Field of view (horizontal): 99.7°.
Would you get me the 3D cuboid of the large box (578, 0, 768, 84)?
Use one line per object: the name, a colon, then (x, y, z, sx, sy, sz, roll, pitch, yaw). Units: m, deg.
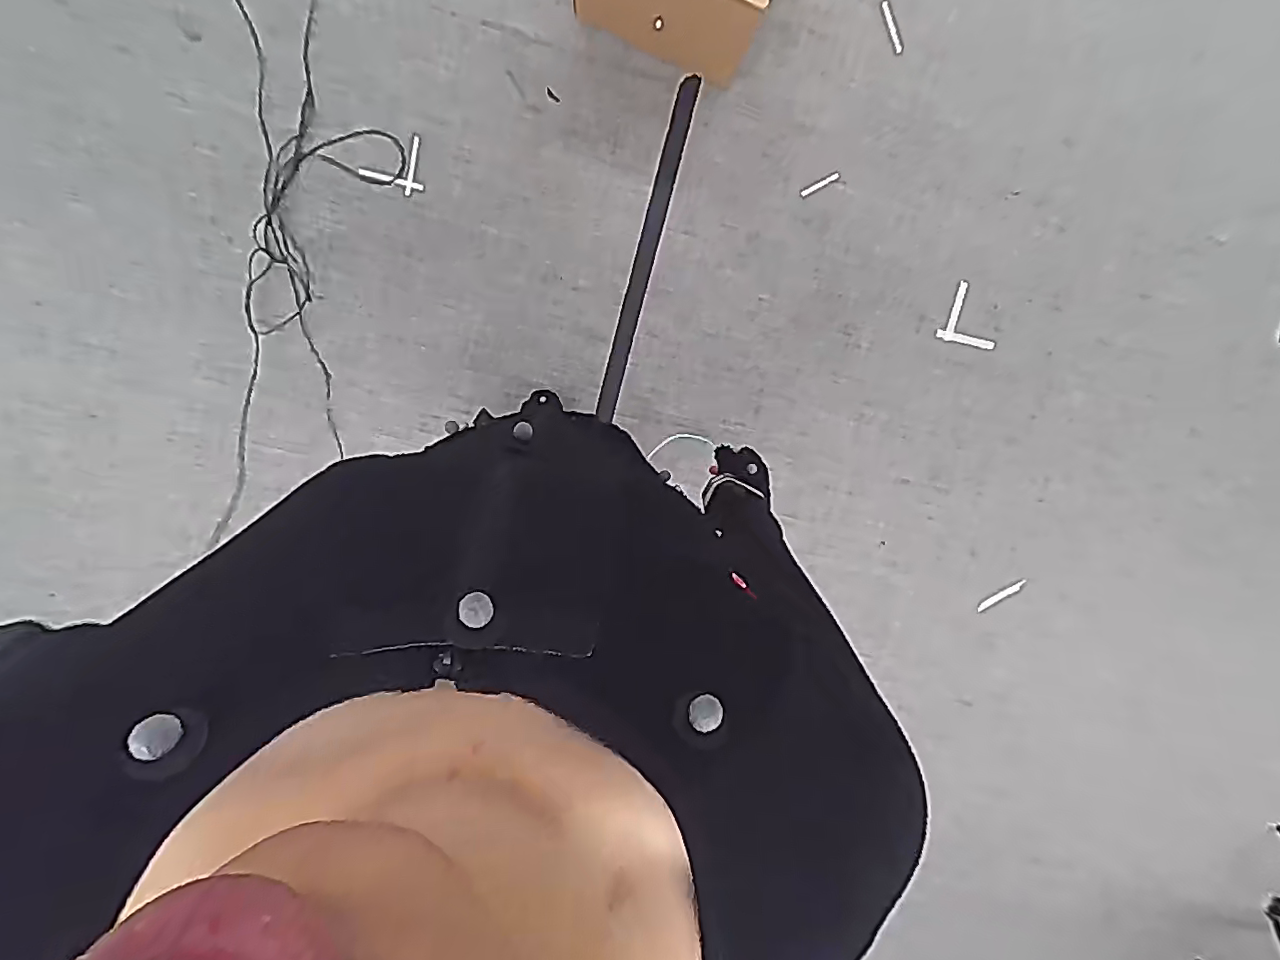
large box: (0.097, -1.148, 1.149, 0.408, 0.320, 0.320, 19, 99, -7)
